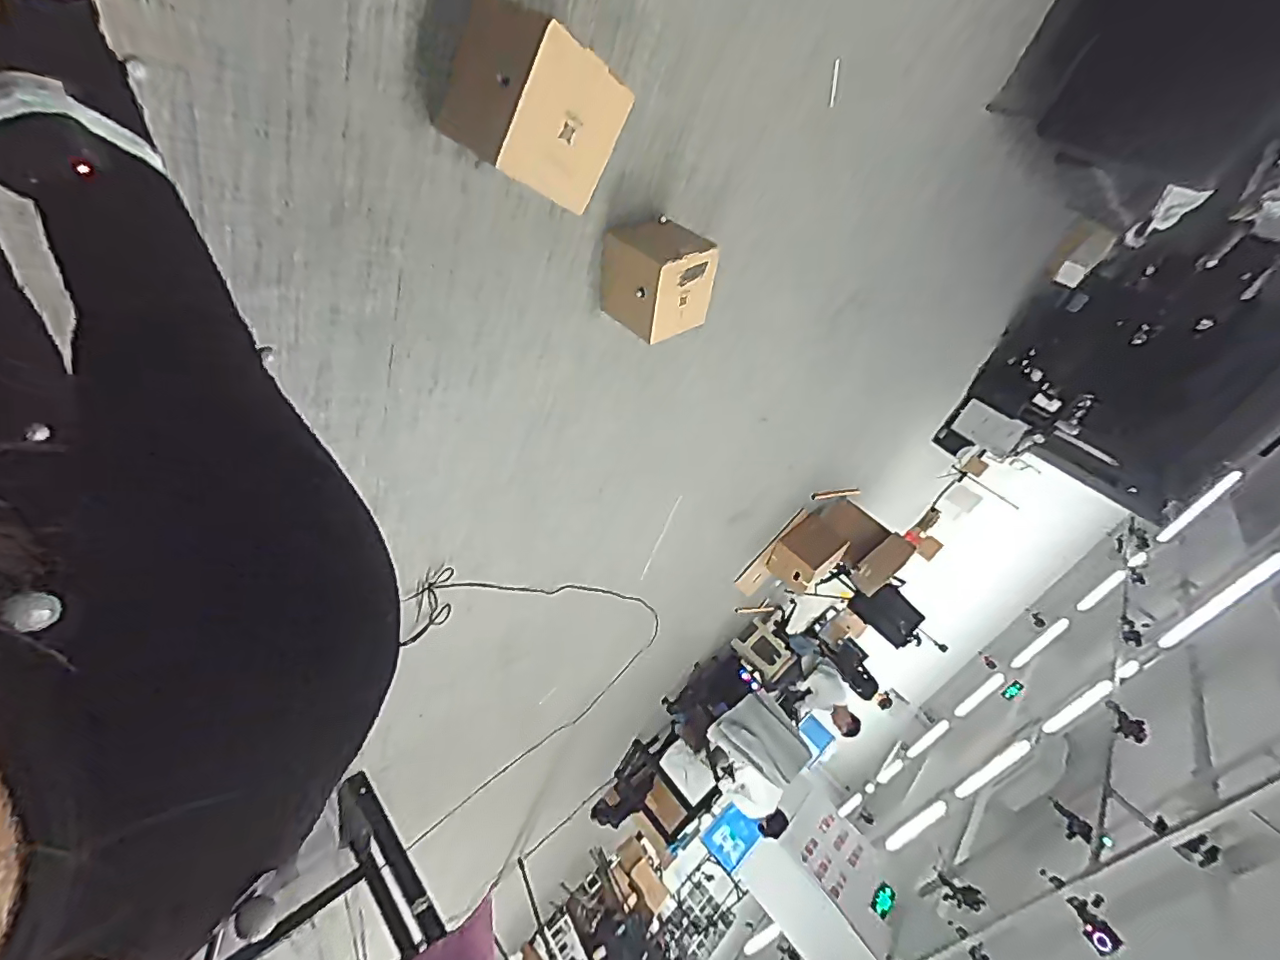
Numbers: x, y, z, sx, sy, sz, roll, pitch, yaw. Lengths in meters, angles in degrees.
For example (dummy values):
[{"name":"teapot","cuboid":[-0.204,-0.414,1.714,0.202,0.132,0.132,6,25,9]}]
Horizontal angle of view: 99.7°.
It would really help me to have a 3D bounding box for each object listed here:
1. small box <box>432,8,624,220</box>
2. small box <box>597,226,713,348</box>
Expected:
[{"name":"small box","cuboid":[-0.160,-0.504,0.753,0.168,0.176,0.179,-1,125,-54]},{"name":"small box","cuboid":[0.025,-0.413,1.134,0.168,0.176,0.179,-30,147,-31]}]
